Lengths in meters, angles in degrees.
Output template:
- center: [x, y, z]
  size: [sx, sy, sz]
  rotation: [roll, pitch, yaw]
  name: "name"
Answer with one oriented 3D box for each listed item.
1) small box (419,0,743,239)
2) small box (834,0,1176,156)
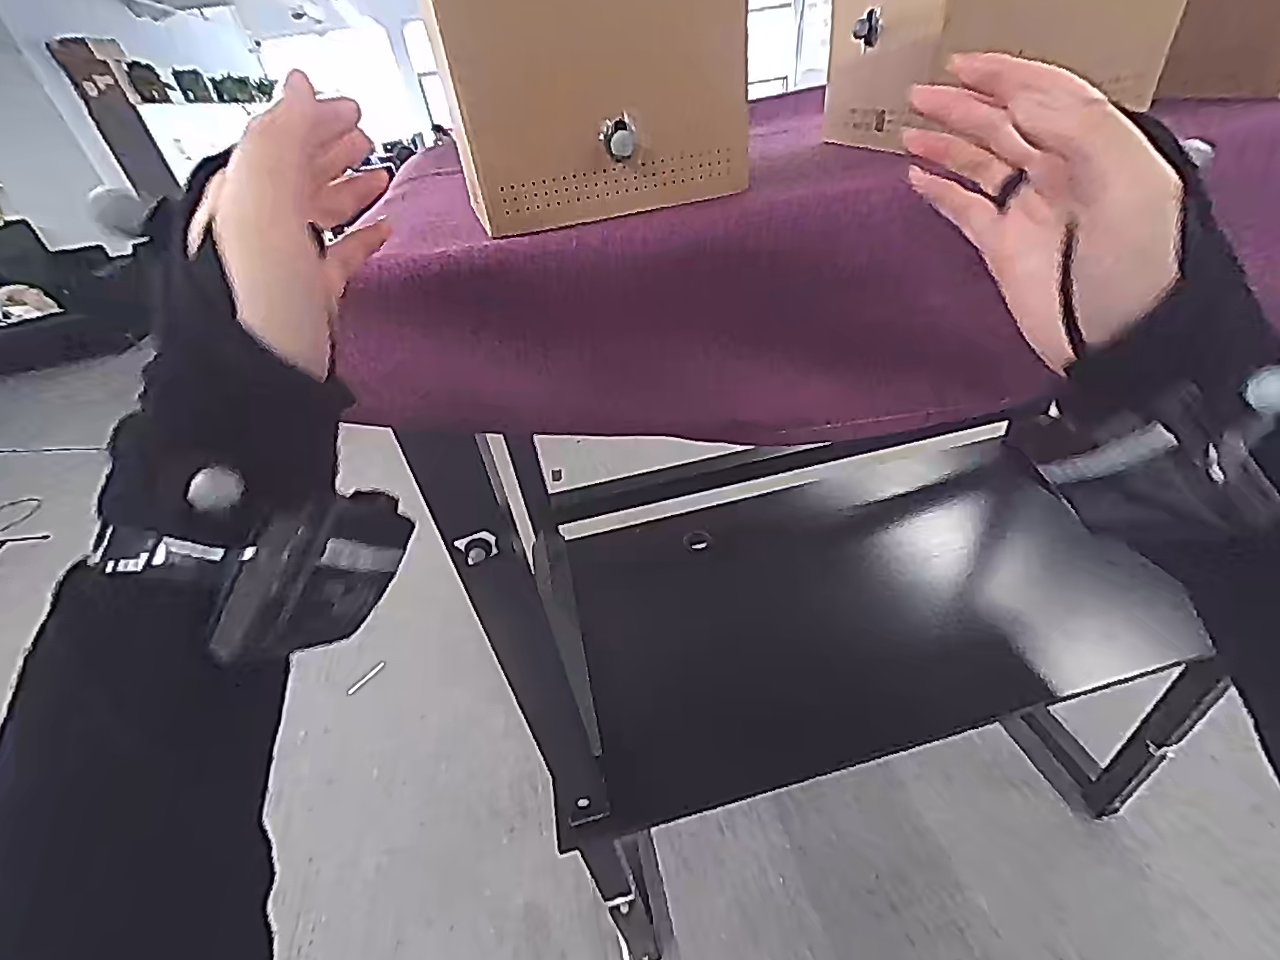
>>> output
- center: [-0.043, -0.274, 0.357]
  size: [0.179, 0.176, 0.168]
  rotation: [-16, 36, -12]
  name: "small box"
- center: [0.258, -0.352, 0.401]
  size: [0.179, 0.176, 0.168]
  rotation: [-11, 36, -3]
  name: "small box"
